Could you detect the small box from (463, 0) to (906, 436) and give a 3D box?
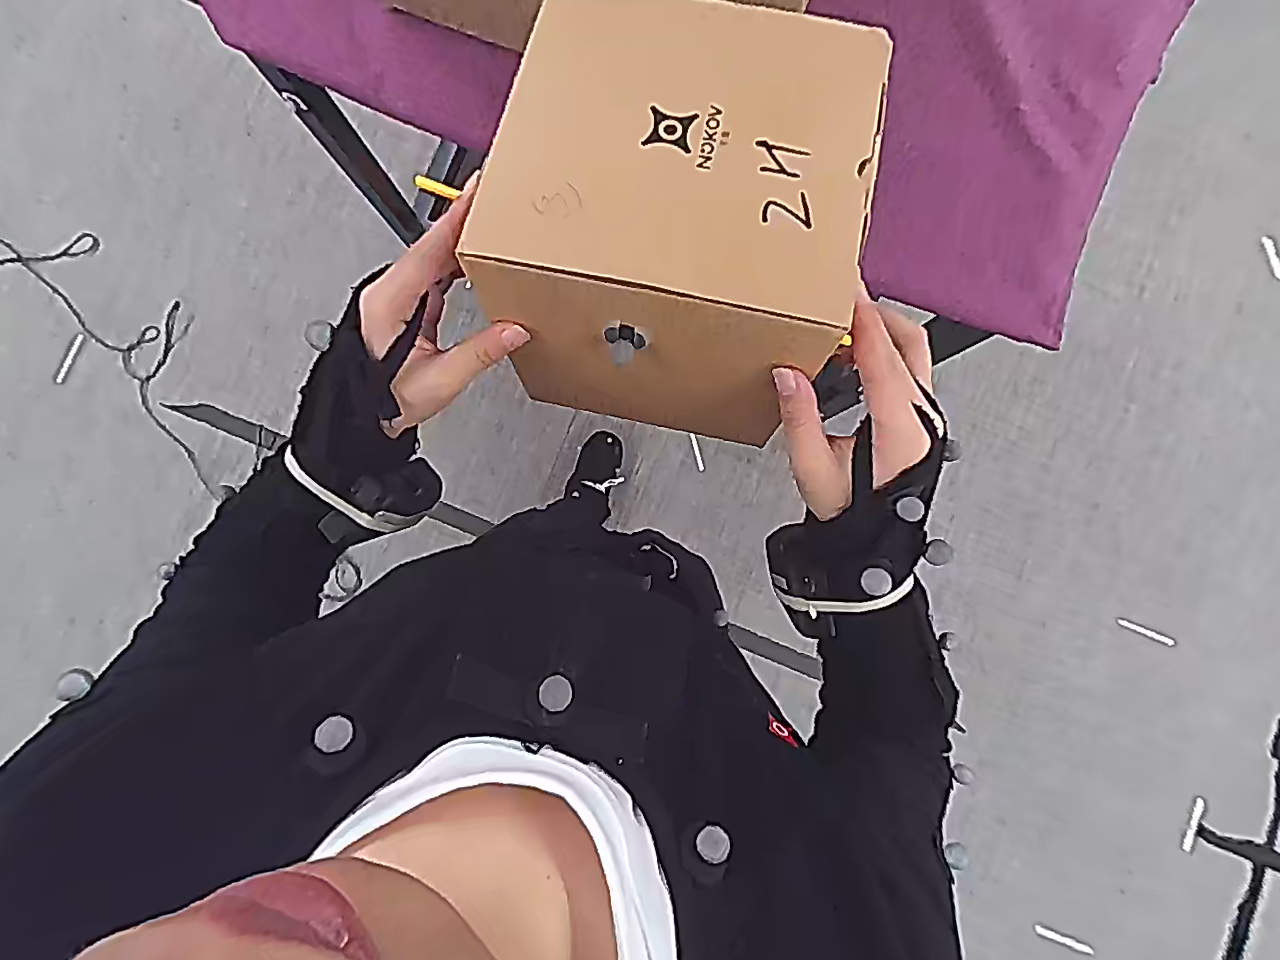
[{"bbox_3d":[0.026,-0.138,0.322,0.179,0.176,0.168,13,77,3],"label":"small box"}]
